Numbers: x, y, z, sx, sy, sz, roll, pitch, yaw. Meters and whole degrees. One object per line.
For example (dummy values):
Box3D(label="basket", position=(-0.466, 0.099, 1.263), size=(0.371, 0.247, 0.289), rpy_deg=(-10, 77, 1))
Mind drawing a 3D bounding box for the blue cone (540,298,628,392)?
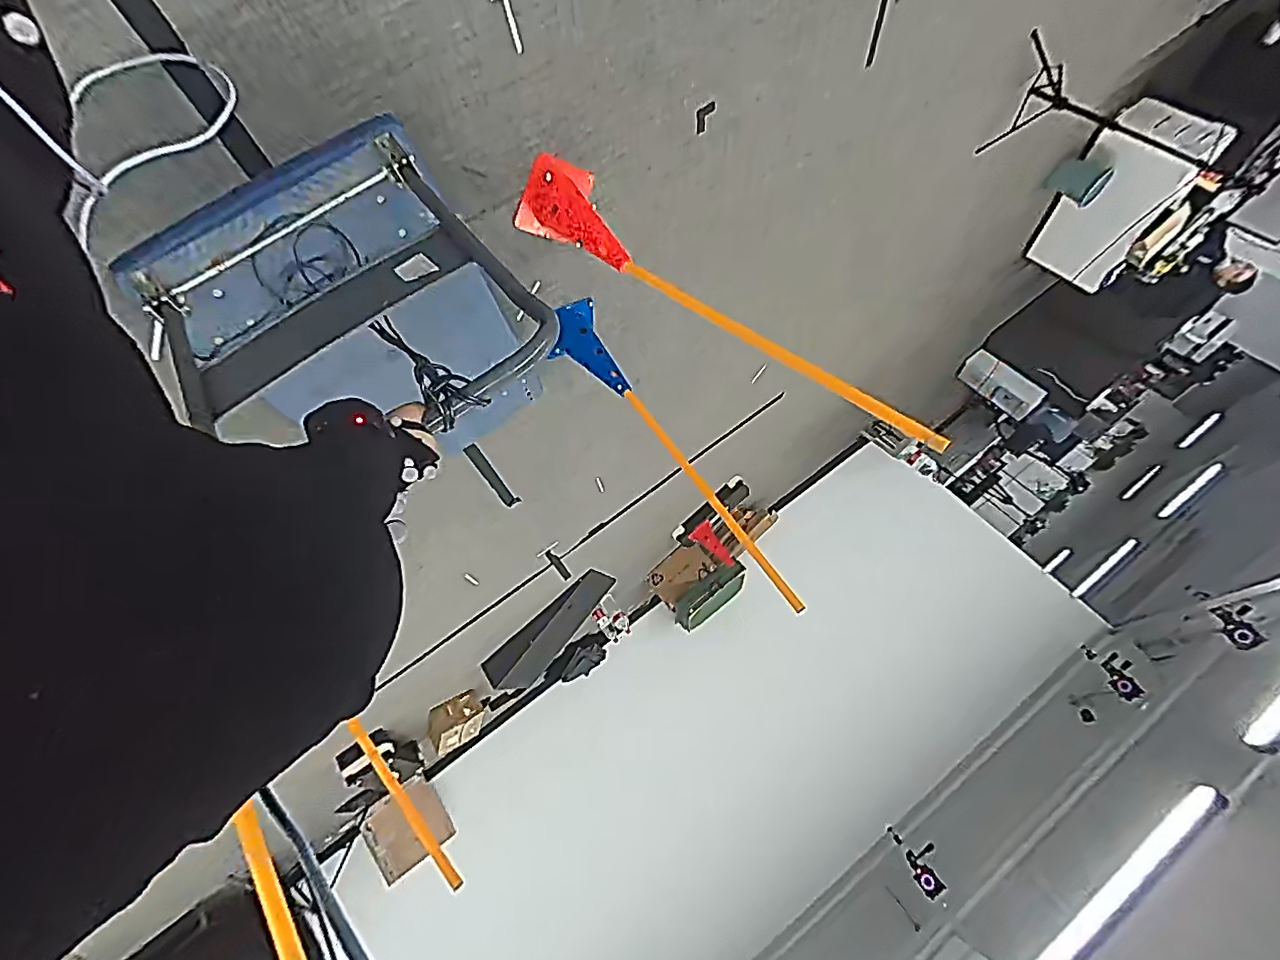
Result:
Box3D(label="blue cone", position=(-0.159, -0.411, 1.781), size=(0.193, 0.380, 0.192), rpy_deg=(-28, 151, -24))

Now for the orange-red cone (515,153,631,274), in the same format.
Box3D(label="orange-red cone", position=(-0.136, -0.645, 1.405), size=(0.198, 0.360, 0.199), rpy_deg=(-6, 139, -49))
